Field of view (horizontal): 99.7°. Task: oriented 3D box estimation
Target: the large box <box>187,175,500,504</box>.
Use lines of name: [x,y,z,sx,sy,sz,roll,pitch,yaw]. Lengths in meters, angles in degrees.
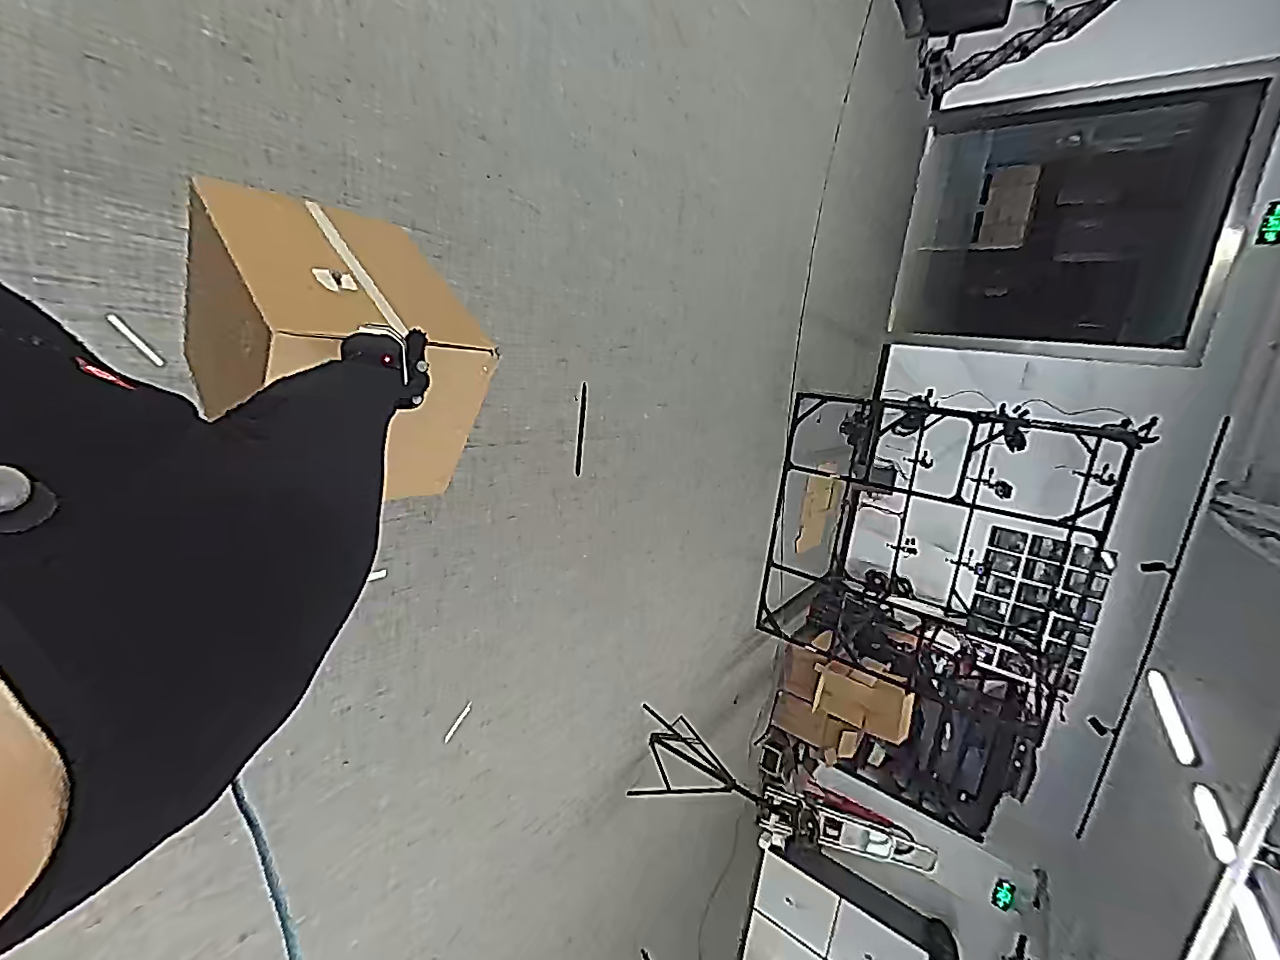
large box: [-0.510,-0.220,0.907,0.320,0.408,0.320,-9,143,-48]
